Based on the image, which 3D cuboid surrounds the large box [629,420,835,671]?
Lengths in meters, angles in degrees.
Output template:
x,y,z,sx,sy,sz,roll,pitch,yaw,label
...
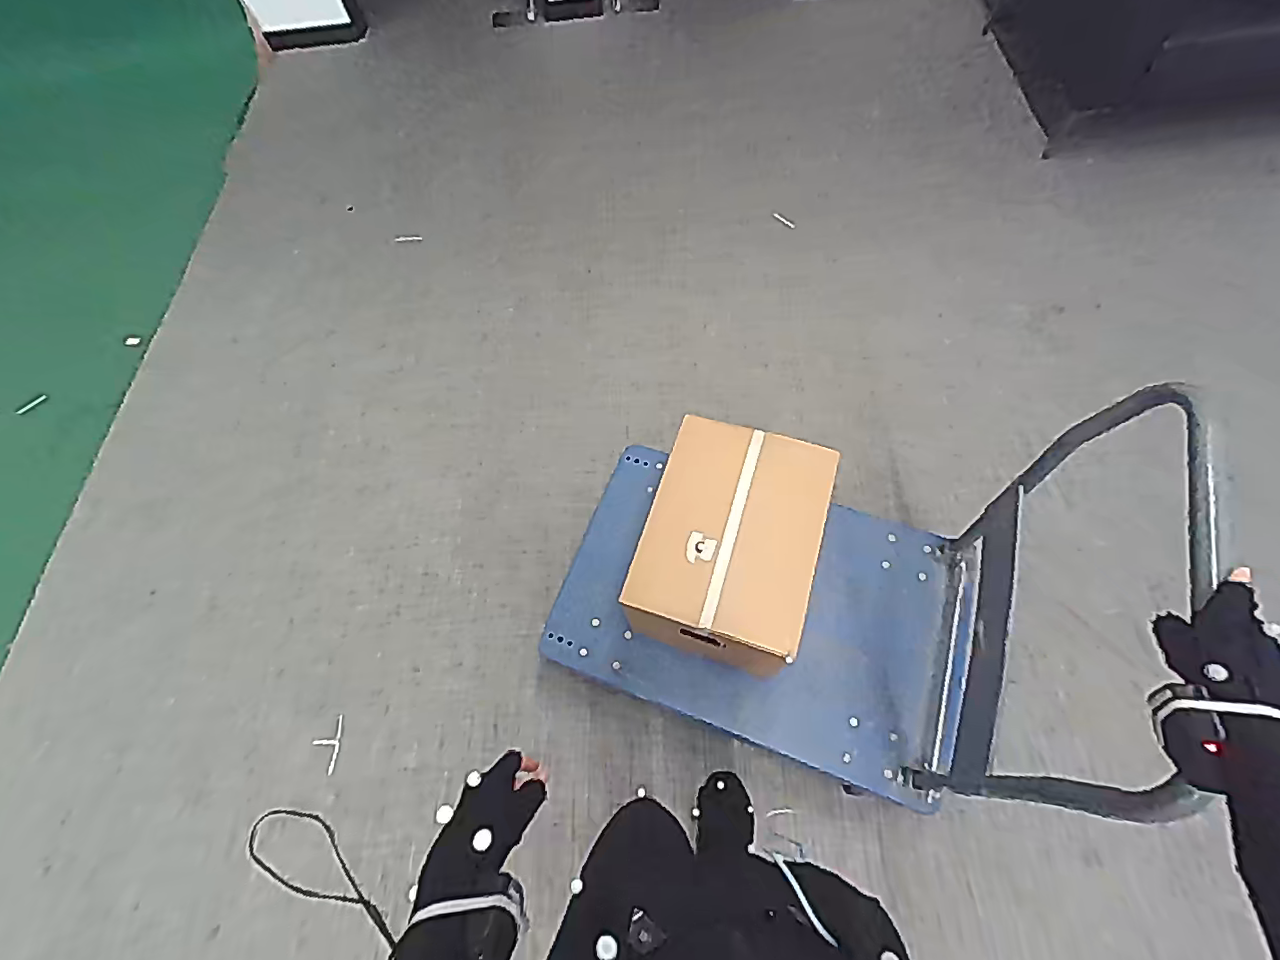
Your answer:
x,y,z,sx,sy,sz,roll,pitch,yaw,label
0.190,0.144,1.135,0.320,0.320,0.408,14,67,12,large box
